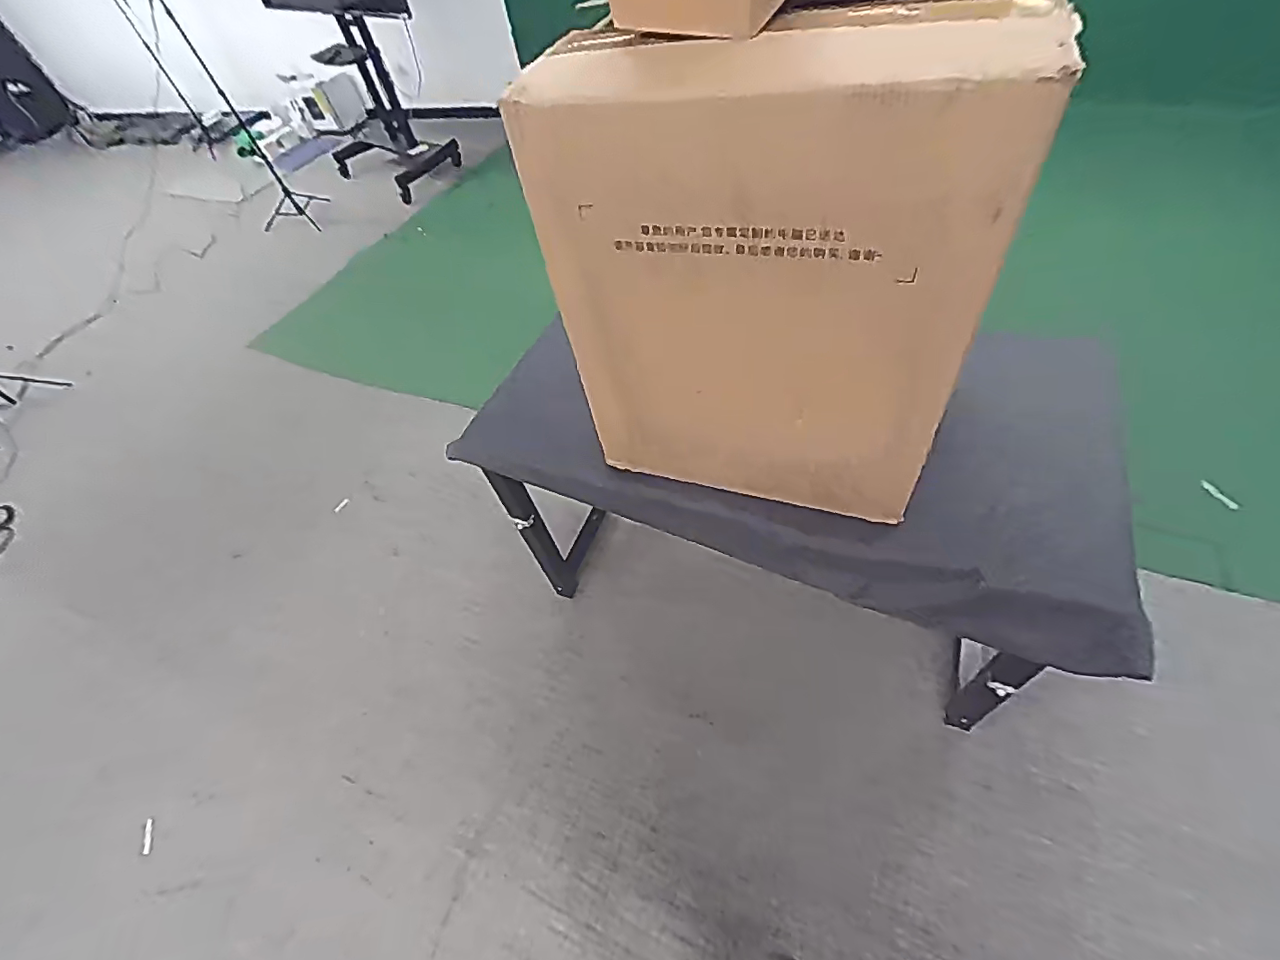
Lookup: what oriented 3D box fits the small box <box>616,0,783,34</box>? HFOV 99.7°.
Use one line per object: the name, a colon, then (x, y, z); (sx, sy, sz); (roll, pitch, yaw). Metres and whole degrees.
small box: (0.068, -0.579, 0.531); (0.179, 0.176, 0.168); (26, 72, 25)
